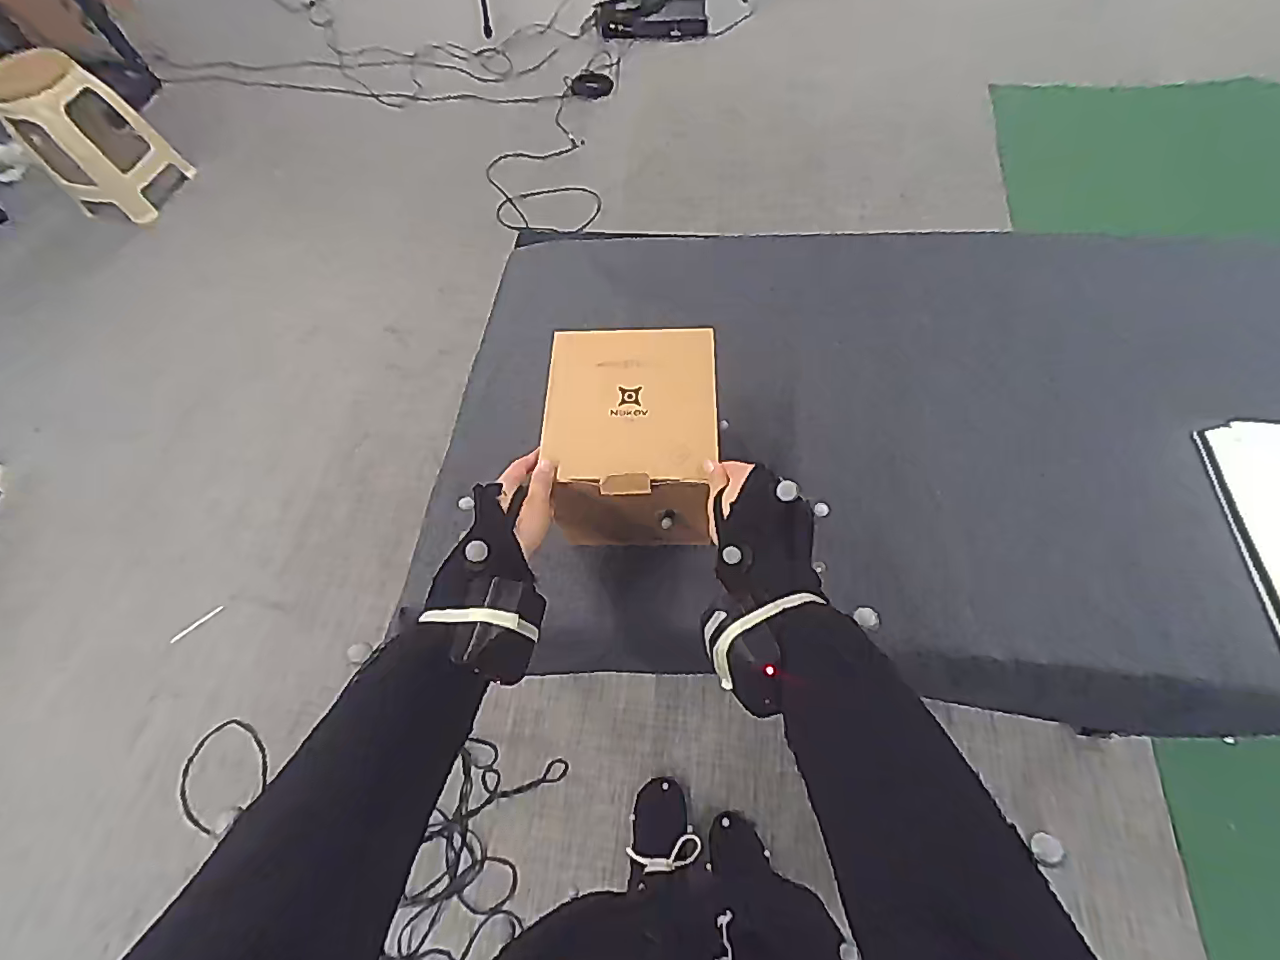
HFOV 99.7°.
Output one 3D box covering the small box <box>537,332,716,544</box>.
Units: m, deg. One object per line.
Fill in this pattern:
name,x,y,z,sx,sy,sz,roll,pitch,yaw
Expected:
small box,-0.004,-0.037,0.587,0.168,0.176,0.179,0,62,3
